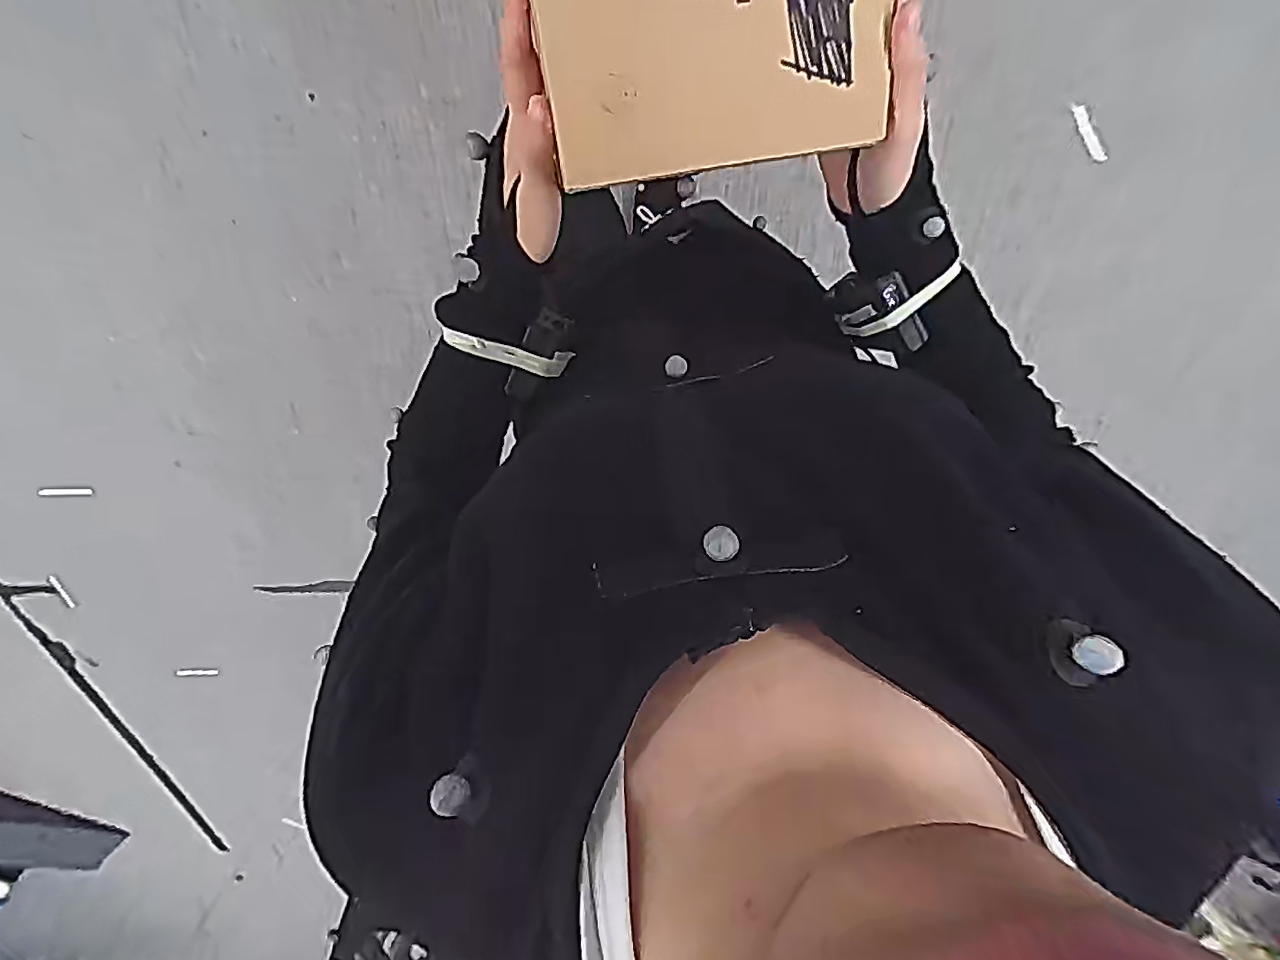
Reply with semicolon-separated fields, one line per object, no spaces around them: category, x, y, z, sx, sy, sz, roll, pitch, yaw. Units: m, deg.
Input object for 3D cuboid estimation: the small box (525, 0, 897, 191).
small box;0.025;-0.274;0.313;0.179;0.176;0.168;-11;120;-3
